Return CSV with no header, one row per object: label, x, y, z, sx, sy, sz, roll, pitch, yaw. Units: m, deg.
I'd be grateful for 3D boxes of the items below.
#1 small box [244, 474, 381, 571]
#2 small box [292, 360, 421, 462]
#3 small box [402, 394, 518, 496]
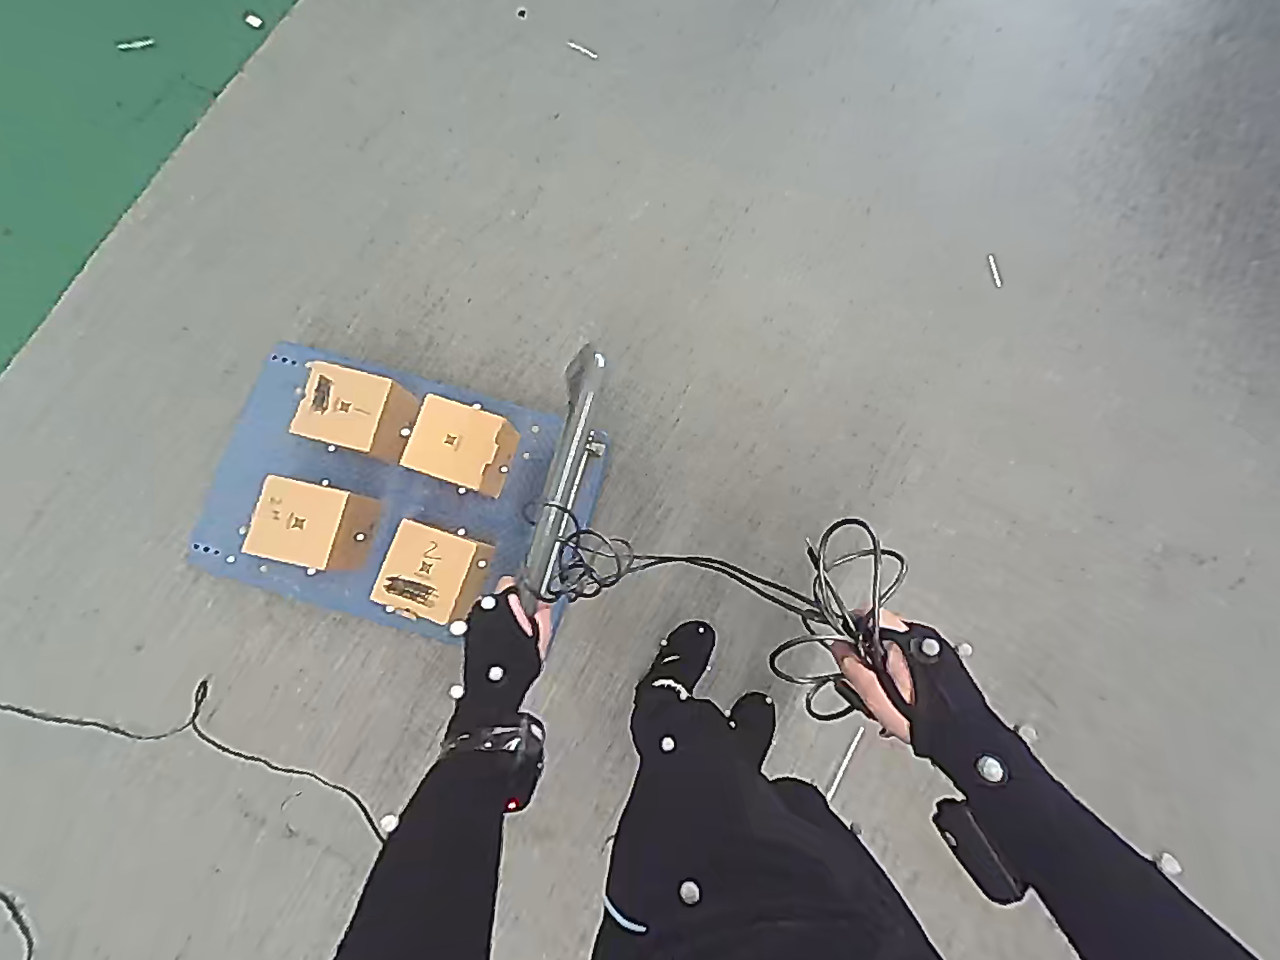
small box,-0.699,0.096,1.180,0.179,0.176,0.168,13,81,0
small box,-0.628,-0.146,1.219,0.179,0.176,0.168,15,82,0
small box,-0.394,-0.071,1.215,0.179,0.176,0.168,18,82,1
